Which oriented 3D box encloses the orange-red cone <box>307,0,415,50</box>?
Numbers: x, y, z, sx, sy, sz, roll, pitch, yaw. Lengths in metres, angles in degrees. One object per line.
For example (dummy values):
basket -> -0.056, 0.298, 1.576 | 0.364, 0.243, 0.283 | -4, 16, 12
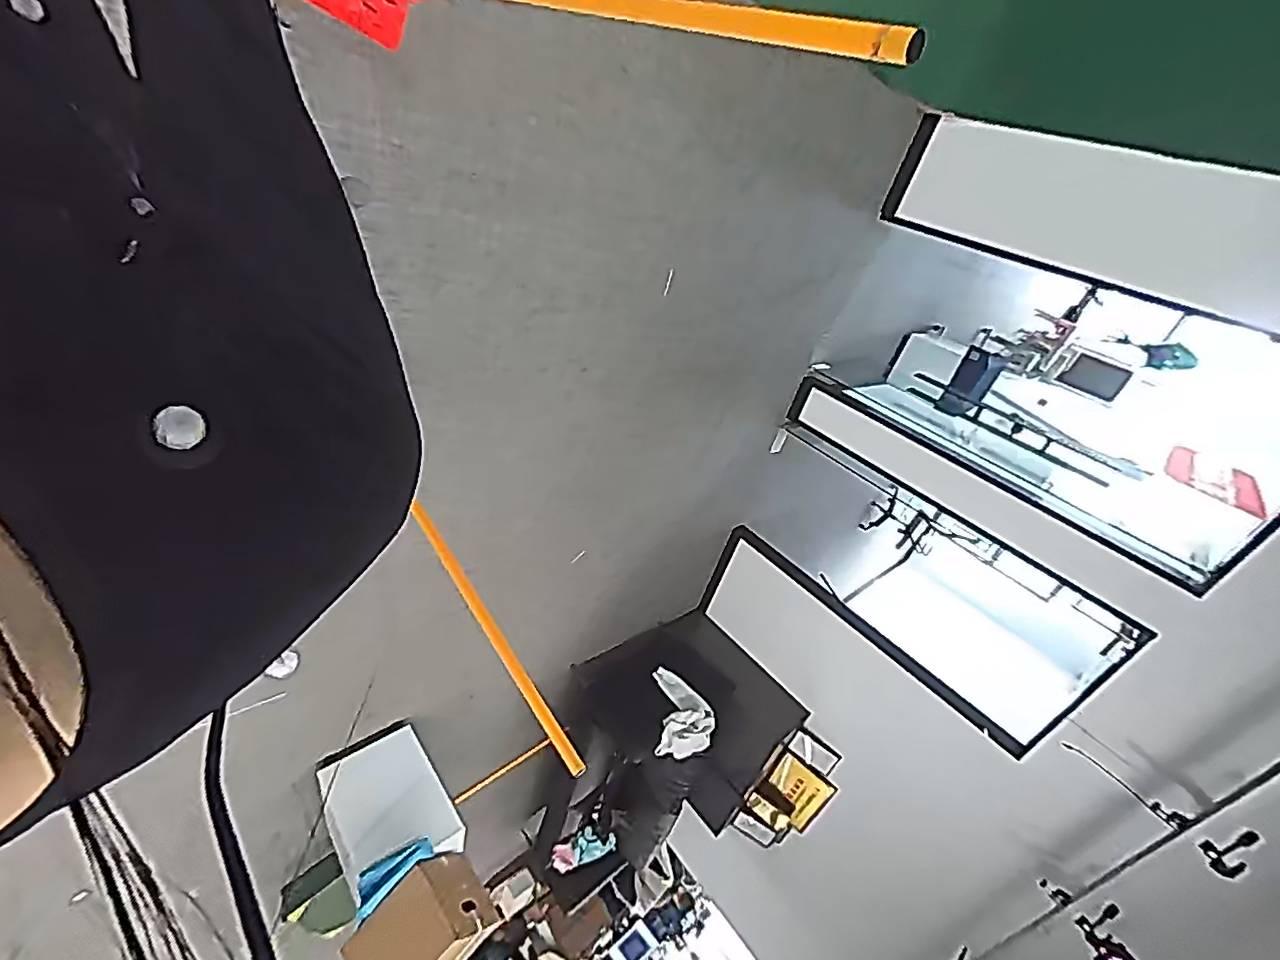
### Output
orange-red cone -> -0.447, -0.919, 0.983 | 0.198, 0.360, 0.199 | 0, 123, -50
